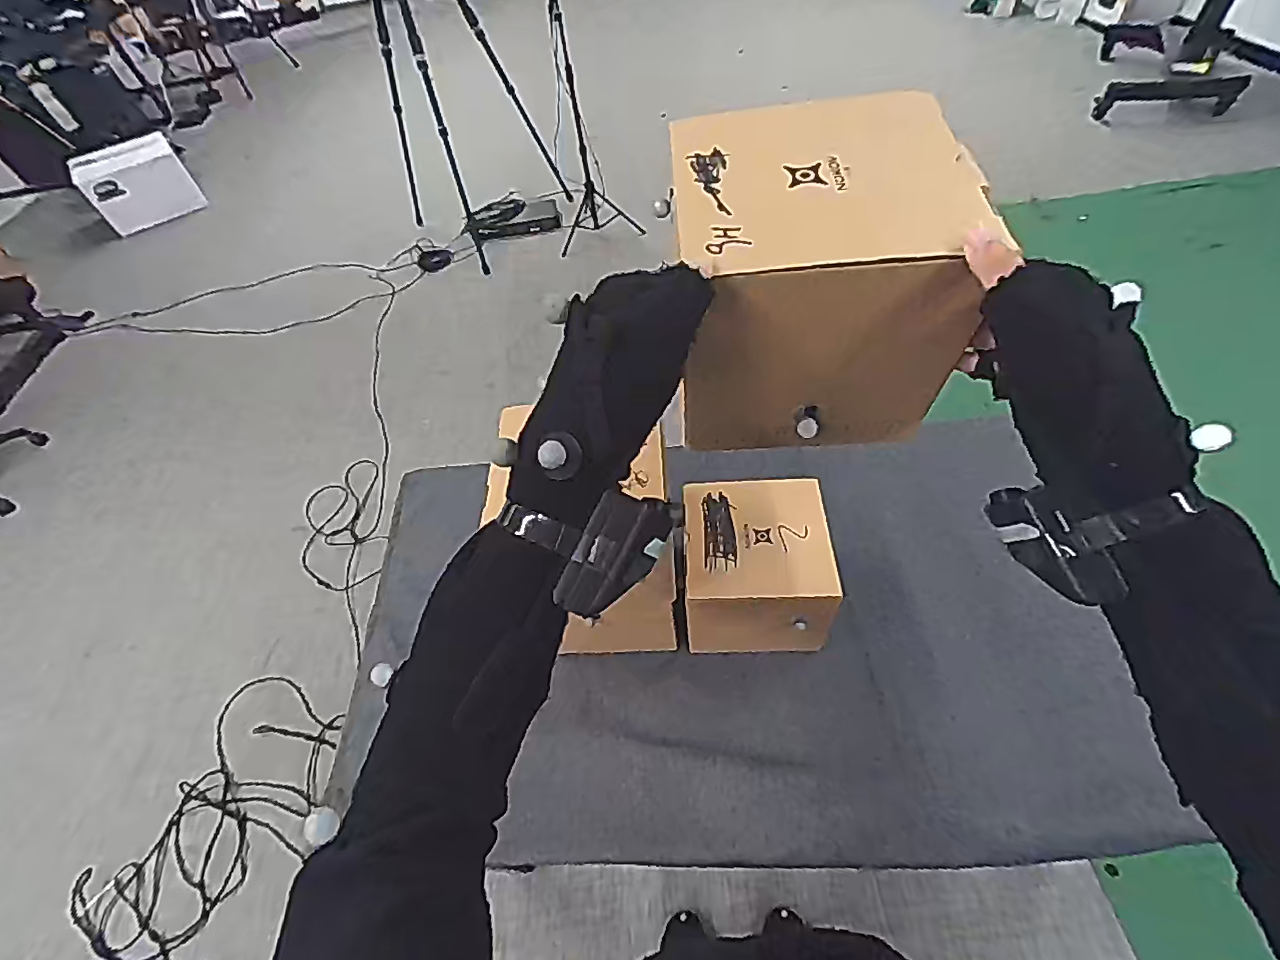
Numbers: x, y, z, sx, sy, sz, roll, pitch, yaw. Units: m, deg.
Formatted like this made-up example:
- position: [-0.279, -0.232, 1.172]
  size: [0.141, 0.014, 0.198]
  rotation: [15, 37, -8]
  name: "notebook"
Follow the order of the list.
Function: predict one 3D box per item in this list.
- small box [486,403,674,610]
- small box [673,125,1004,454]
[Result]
- position: [-0.052, 0.035, 0.610]
  size: [0.179, 0.176, 0.168]
  rotation: [-4, 51, 4]
  name: "small box"
- position: [0.116, -0.132, 0.405]
  size: [0.179, 0.176, 0.168]
  rotation: [-2, 57, 2]
  name: "small box"
